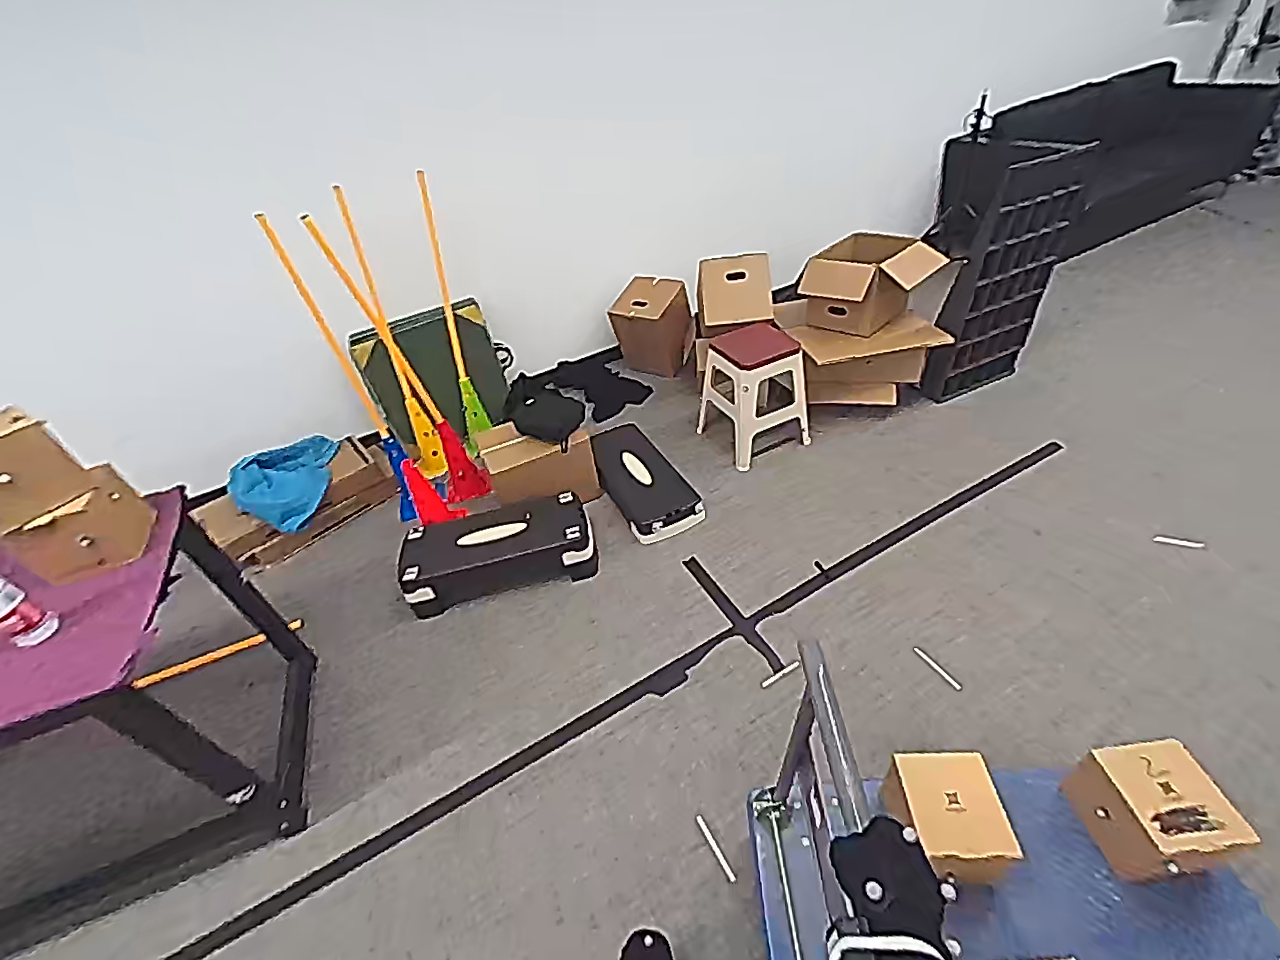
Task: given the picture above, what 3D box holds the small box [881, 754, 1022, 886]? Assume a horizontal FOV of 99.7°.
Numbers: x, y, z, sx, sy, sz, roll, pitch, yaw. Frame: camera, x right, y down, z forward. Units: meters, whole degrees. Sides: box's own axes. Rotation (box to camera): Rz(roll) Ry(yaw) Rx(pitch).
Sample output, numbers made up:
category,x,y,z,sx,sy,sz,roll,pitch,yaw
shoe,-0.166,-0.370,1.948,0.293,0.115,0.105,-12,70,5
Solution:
category,x,y,z,sx,sy,sz,roll,pitch,yaw
small box,0.586,0.657,1.048,0.168,0.176,0.179,-3,41,6
